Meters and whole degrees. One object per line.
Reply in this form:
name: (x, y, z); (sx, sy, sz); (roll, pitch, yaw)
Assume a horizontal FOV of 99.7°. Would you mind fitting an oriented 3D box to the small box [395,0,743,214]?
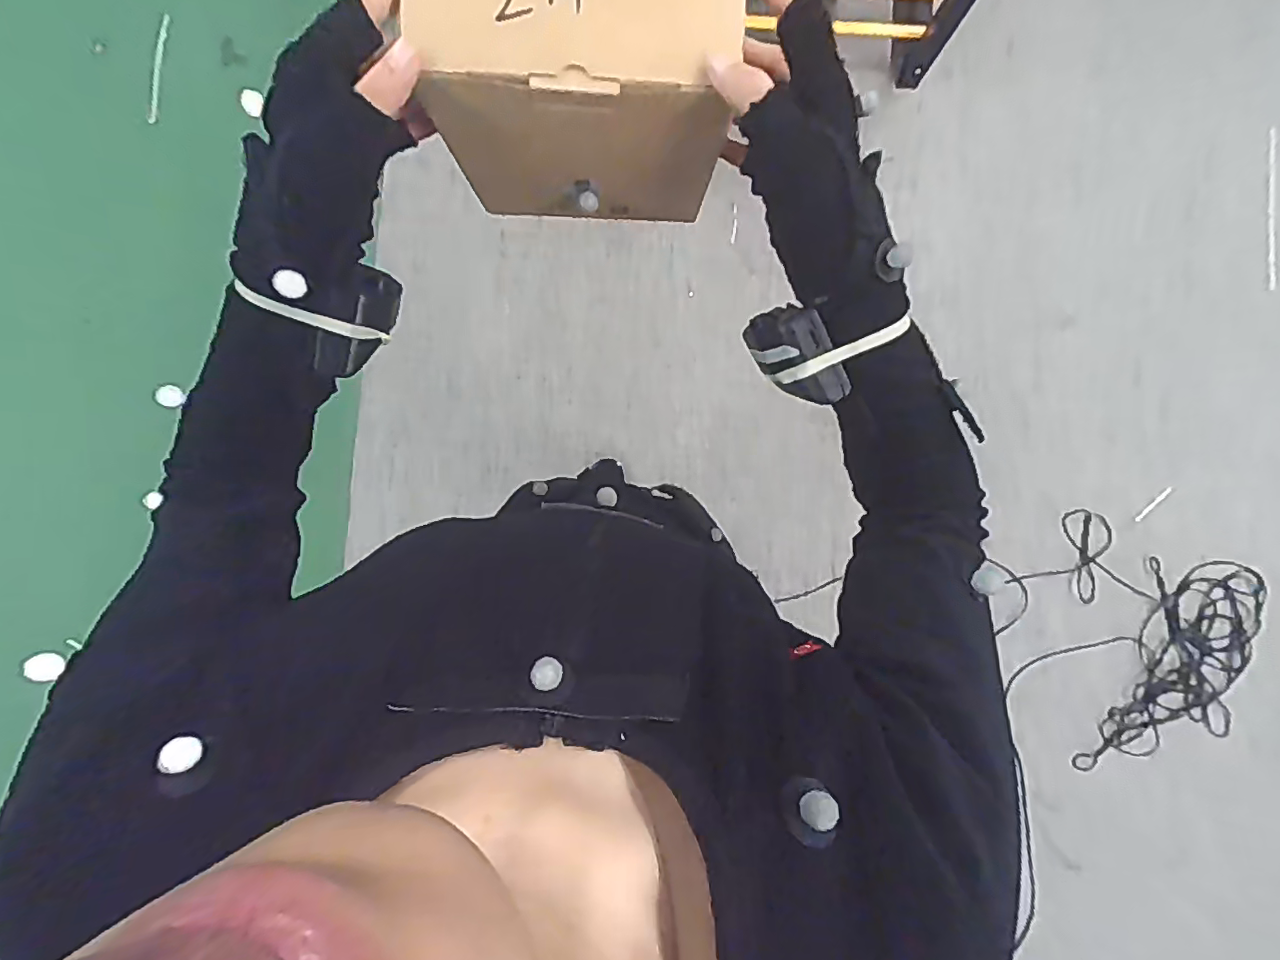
small box: (-0.033, -0.292, 0.332); (0.168, 0.176, 0.179); (2, 94, -2)
